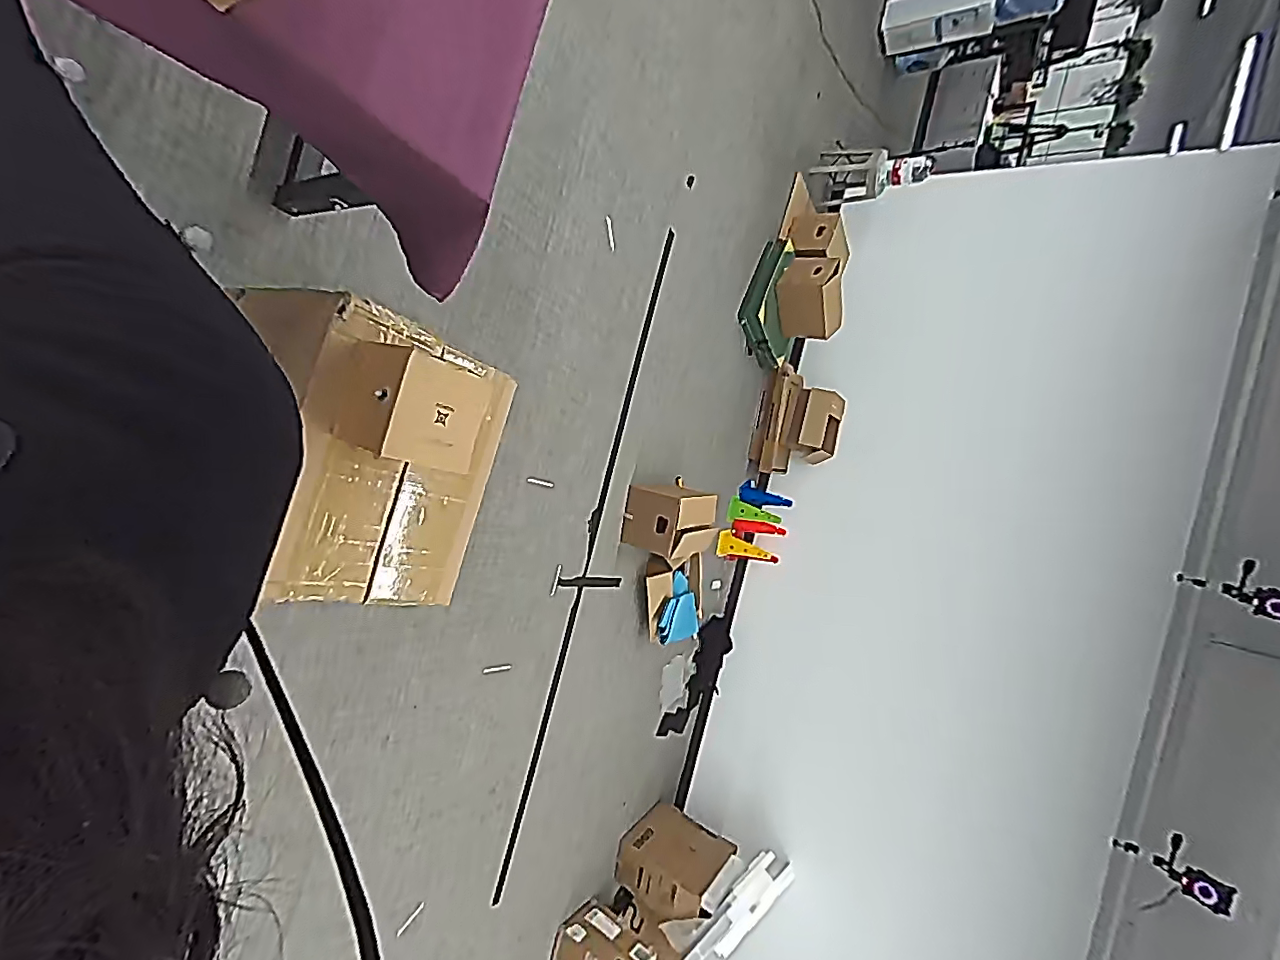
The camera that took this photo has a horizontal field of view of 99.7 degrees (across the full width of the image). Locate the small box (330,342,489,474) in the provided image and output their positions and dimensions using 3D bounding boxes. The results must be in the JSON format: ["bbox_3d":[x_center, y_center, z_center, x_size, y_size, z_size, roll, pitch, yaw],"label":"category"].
[{"bbox_3d":[-0.394,-0.124,0.921,0.168,0.176,0.179,18,88,-55],"label":"small box"}]
